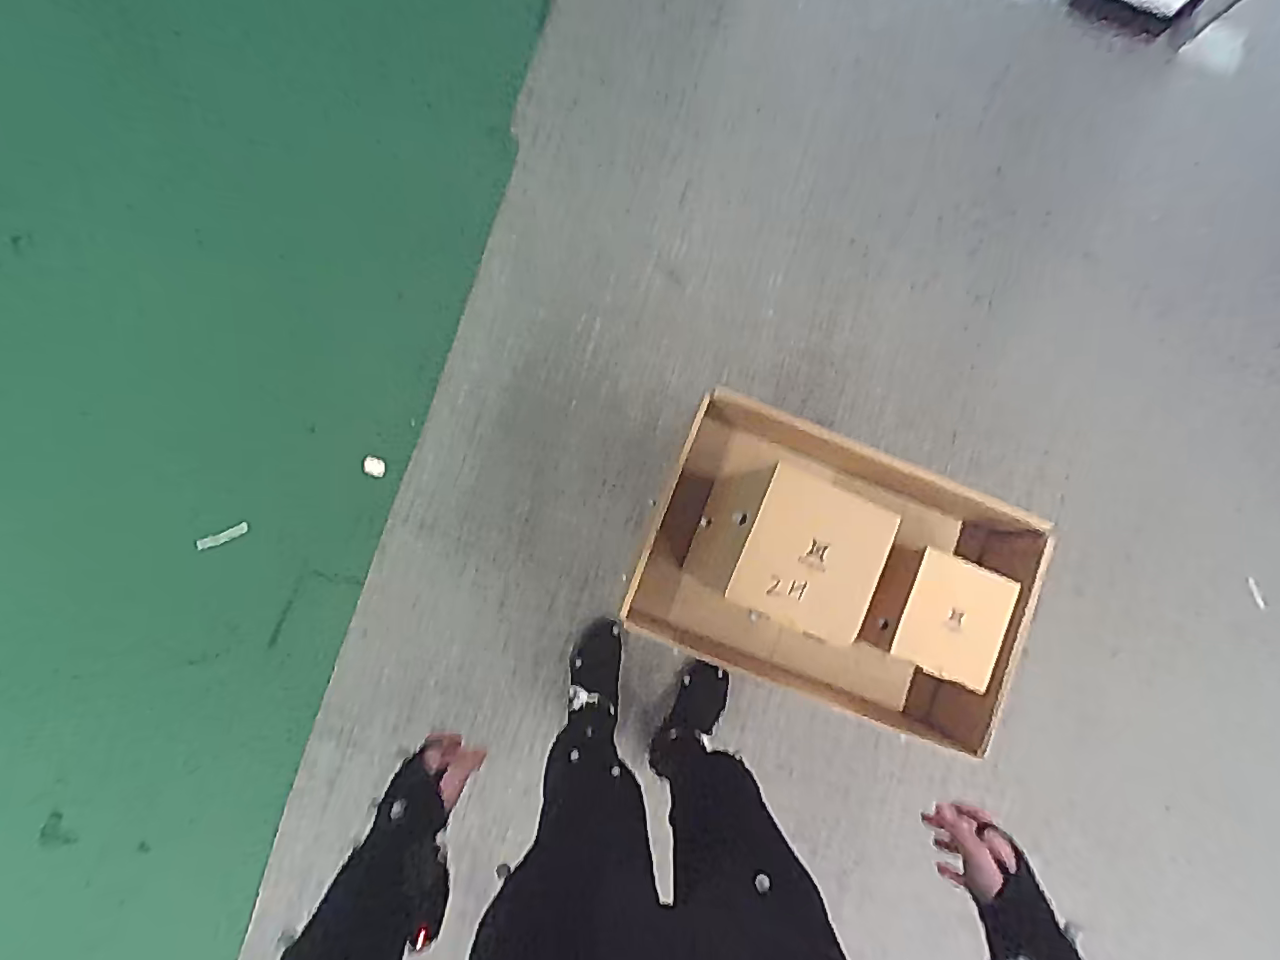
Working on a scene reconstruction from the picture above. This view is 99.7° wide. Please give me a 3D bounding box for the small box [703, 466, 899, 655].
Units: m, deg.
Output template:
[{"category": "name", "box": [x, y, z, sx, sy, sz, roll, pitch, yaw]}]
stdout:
[{"category": "small box", "box": [0.195, 0.099, 0.710, 0.168, 0.176, 0.179, 24, 84, -2]}]
